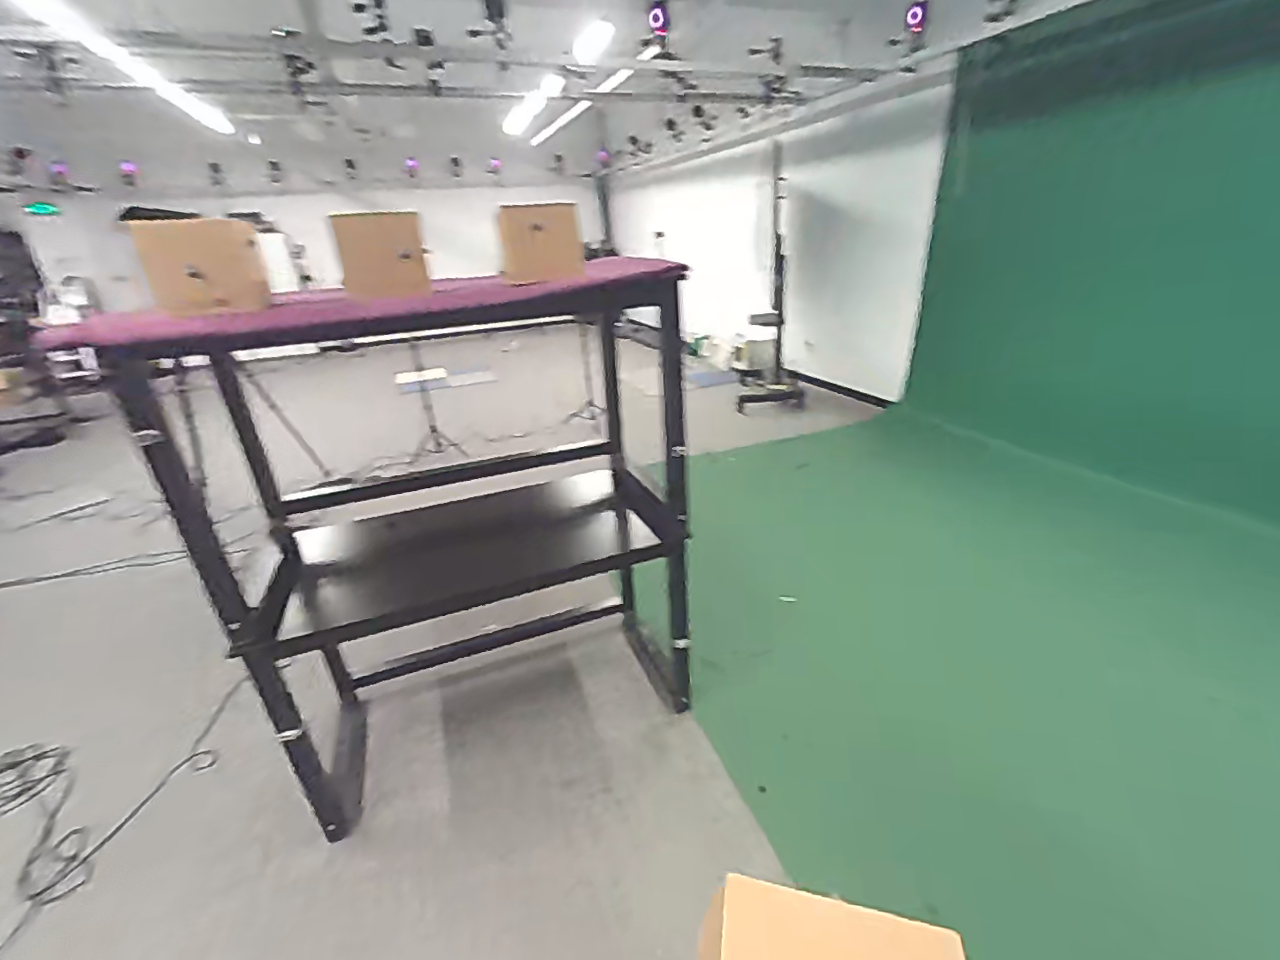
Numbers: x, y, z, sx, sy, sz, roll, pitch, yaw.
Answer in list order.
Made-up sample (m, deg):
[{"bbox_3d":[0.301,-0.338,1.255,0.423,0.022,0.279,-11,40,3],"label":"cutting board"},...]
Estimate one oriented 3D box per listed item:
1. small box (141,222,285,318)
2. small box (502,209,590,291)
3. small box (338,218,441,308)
[{"bbox_3d":[-0.843,-0.424,1.092,0.168,0.176,0.179,-11,25,-20],"label":"small box"},{"bbox_3d":[-0.232,-0.561,1.331,0.179,0.176,0.168,-11,23,-17],"label":"small box"},{"bbox_3d":[-0.547,-0.484,1.202,0.179,0.176,0.168,-13,25,-19],"label":"small box"}]
